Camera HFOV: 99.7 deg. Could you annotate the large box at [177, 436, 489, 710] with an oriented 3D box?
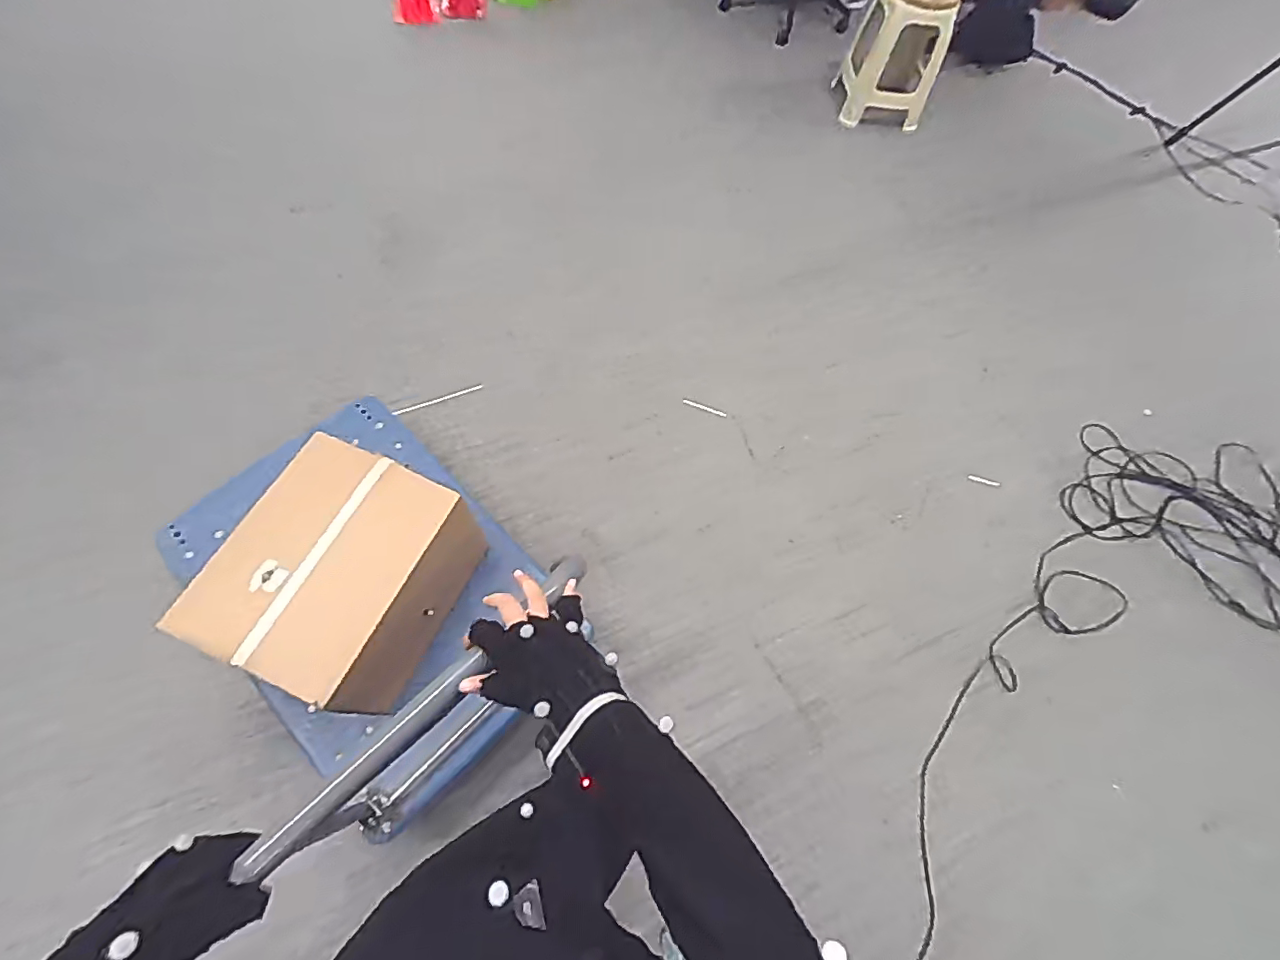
[{"bbox_3d":[-0.549,0.195,1.074,0.320,0.320,0.408,23,66,6],"label":"large box"}]
